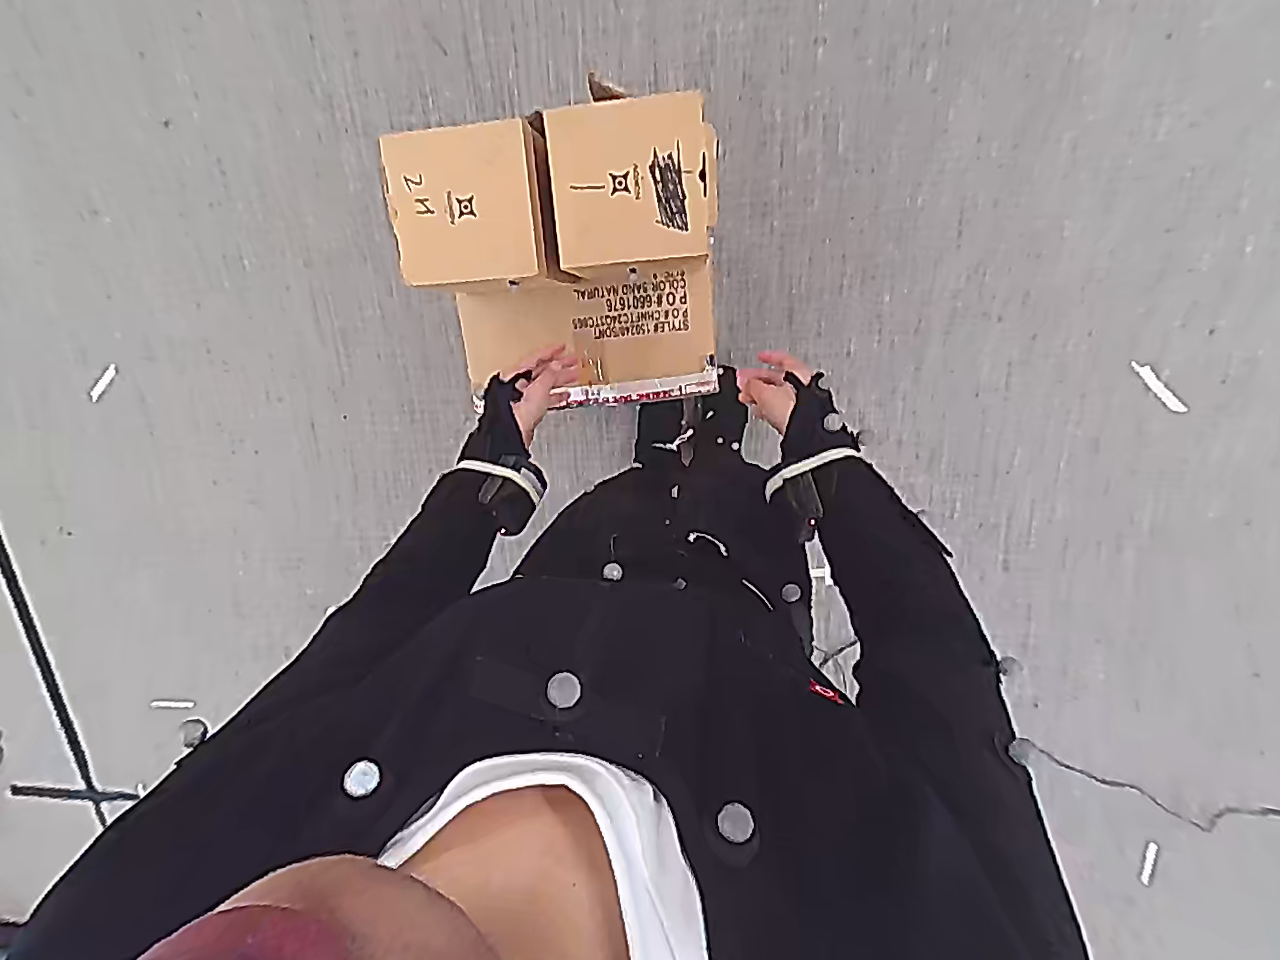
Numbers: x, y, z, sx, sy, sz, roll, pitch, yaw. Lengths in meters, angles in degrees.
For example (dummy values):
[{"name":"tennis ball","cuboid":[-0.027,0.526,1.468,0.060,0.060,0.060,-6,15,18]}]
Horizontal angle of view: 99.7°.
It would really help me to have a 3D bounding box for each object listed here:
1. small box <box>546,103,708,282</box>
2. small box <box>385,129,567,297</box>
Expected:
[{"name":"small box","cuboid":[-0.008,-0.349,0.688,0.179,0.176,0.168,-3,106,6]},{"name":"small box","cuboid":[-0.197,-0.336,0.712,0.179,0.176,0.168,-1,105,9]}]
